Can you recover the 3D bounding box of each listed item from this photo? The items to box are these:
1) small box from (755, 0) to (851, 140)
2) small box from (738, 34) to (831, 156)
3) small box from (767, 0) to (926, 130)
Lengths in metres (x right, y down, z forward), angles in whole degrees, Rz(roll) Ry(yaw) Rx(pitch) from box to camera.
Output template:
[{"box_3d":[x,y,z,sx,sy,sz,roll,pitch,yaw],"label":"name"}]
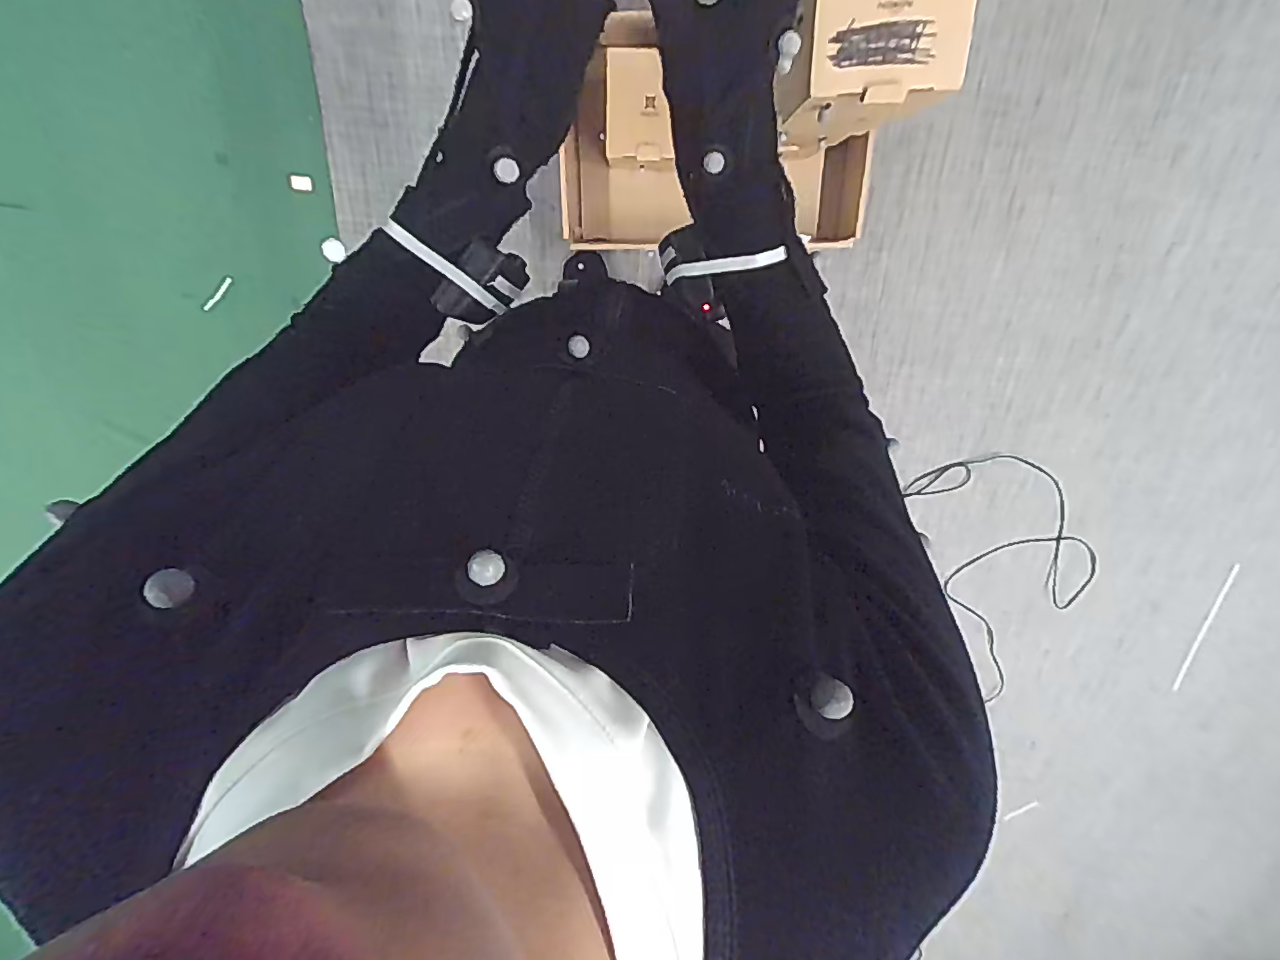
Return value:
[{"box_3d":[0.290,-0.678,0.899,0.168,0.176,0.179,1,114,3],"label":"small box"},{"box_3d":[0.285,-0.751,1.065,0.168,0.176,0.179,-2,113,5],"label":"small box"},{"box_3d":[0.281,-0.611,0.768,0.168,0.176,0.179,2,114,2],"label":"small box"}]
